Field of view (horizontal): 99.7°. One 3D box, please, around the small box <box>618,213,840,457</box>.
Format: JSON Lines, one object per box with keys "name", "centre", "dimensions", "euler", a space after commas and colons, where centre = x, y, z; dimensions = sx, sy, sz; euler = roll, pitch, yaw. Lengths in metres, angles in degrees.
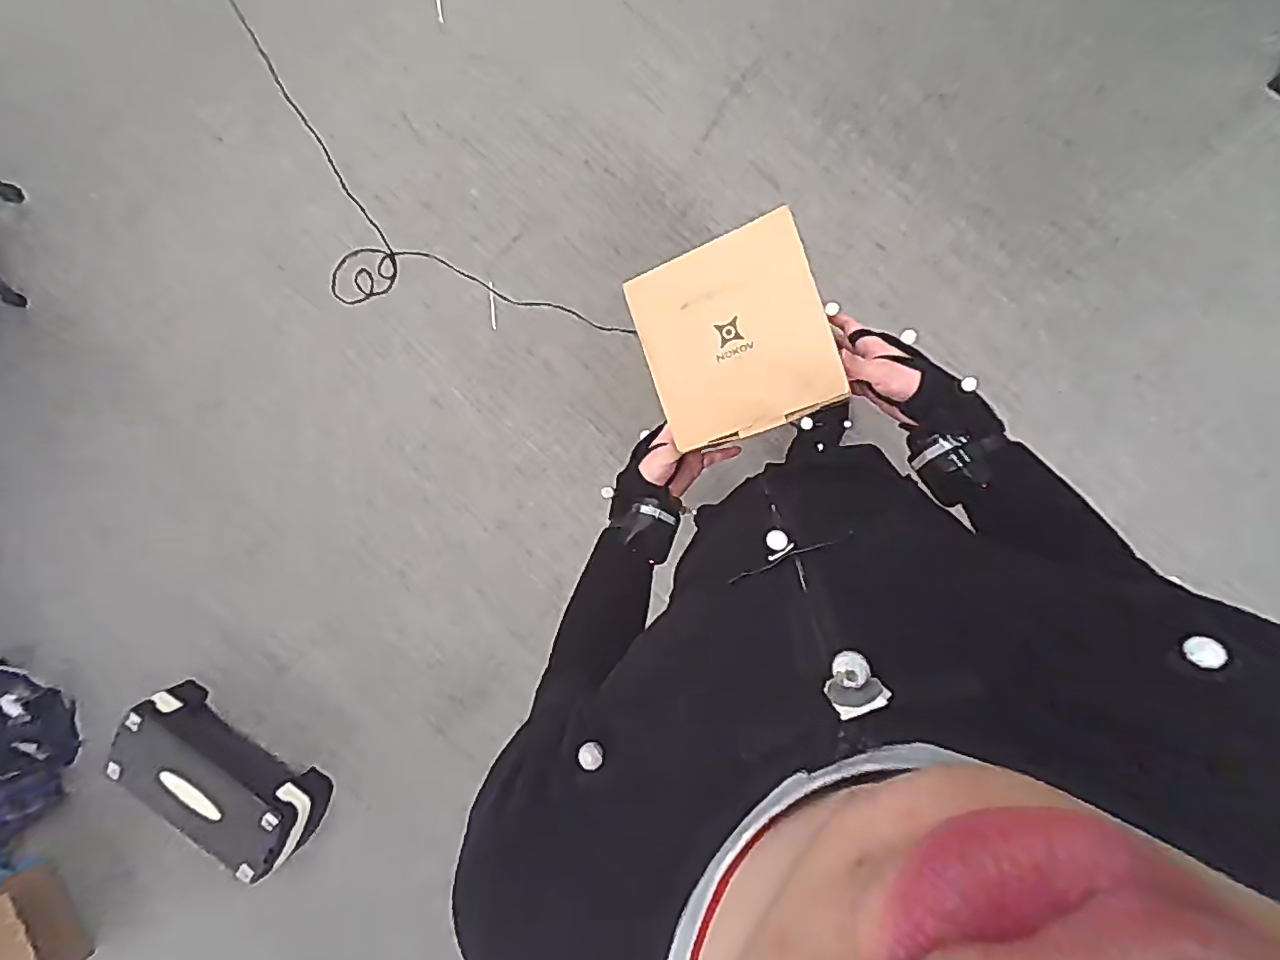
{"name": "small box", "centre": [0.103, -0.135, 0.568], "dimensions": [0.168, 0.176, 0.179], "euler": [-19, 89, 20]}
